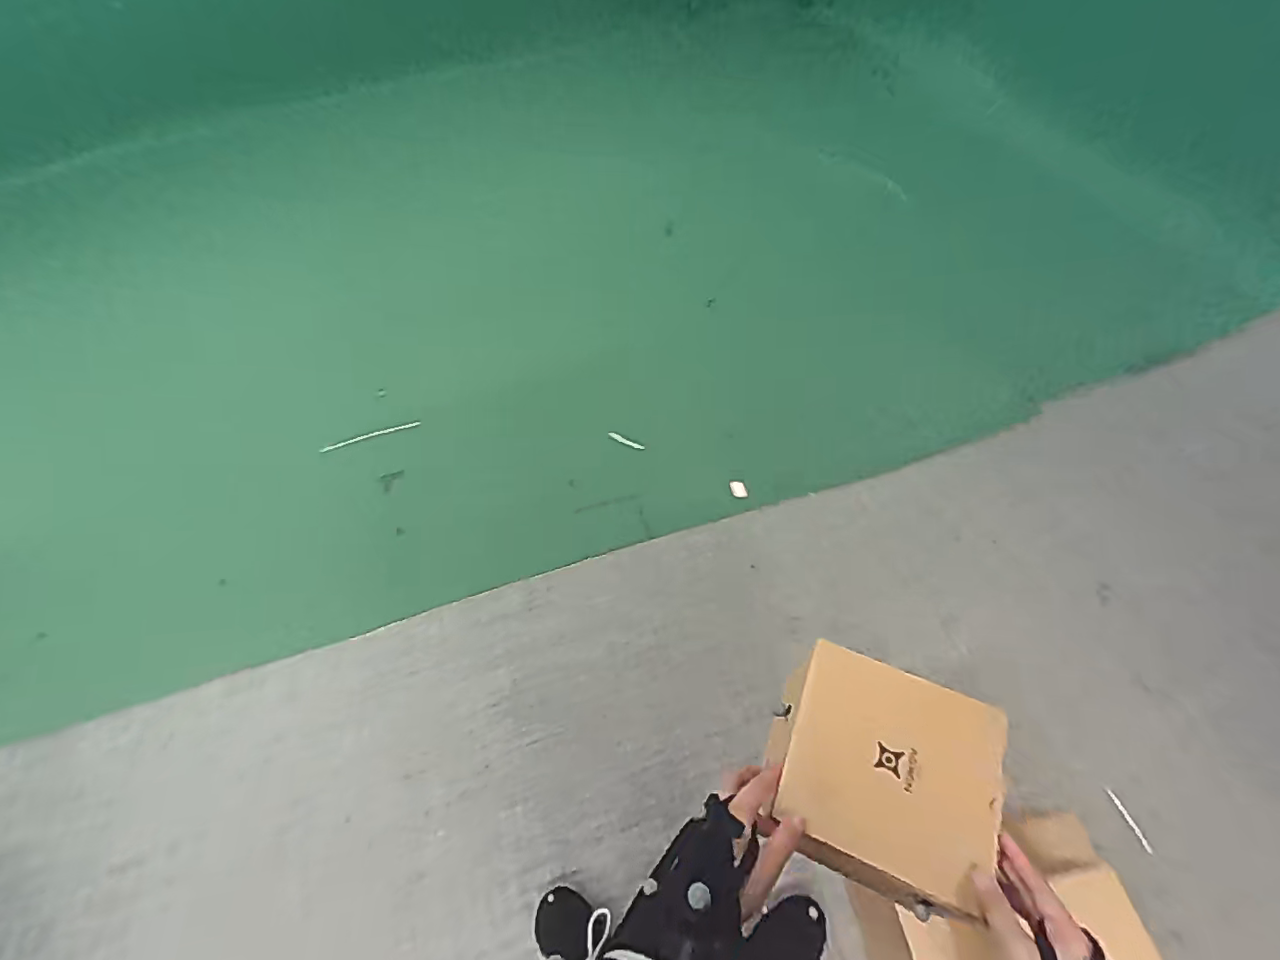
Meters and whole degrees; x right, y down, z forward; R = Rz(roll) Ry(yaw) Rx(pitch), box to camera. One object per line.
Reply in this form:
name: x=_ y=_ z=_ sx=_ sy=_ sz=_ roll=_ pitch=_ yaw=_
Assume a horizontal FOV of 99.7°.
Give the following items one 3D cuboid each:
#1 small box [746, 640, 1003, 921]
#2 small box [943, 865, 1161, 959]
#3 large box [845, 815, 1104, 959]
small box: x=0.215 y=0.288 z=0.528 sx=0.179 sy=0.176 sz=0.168 roll=19 pitch=58 yaw=14
small box: x=0.514 y=0.603 z=0.670 sx=0.168 sy=0.176 sz=0.179 roll=-11 pitch=57 yaw=-3
large box: x=0.559 y=0.785 z=0.839 sx=0.320 sy=0.320 sz=0.408 roll=-12 pitch=59 yaw=-1
